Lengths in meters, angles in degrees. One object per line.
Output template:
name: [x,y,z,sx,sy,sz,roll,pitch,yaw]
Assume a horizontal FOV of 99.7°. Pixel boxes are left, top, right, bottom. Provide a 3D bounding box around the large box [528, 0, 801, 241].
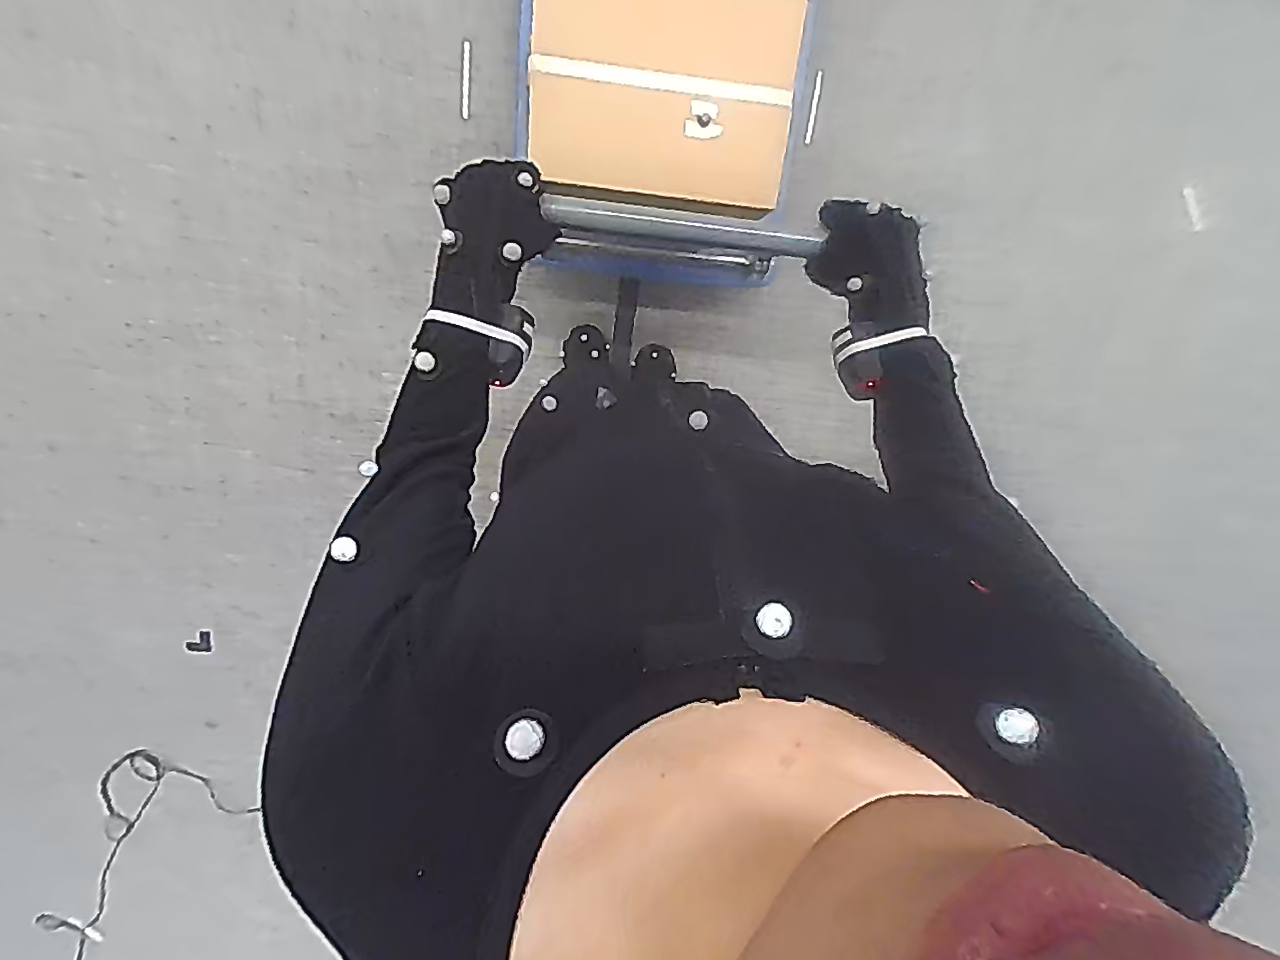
large box: [0.019,-0.634,0.968,0.408,0.320,0.320,4,106,-6]
